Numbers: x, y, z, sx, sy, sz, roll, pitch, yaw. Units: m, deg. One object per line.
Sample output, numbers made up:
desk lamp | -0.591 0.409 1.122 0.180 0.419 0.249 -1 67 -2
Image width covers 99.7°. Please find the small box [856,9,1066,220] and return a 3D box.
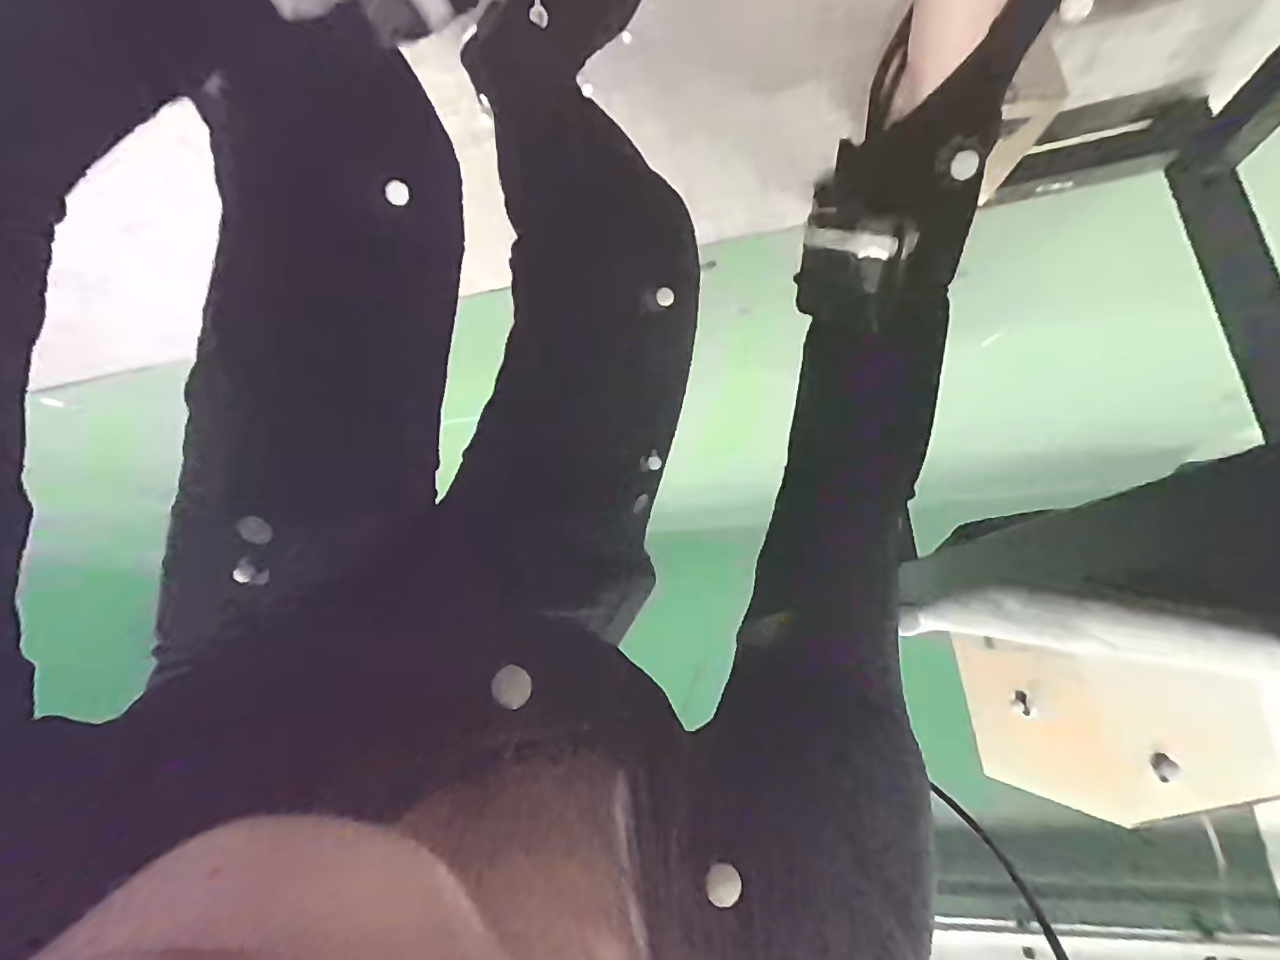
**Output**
small box | 0.405 -0.482 0.720 0.168 0.176 0.179 -3 167 0

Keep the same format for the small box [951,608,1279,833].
small box | 0.461 0.228 0.555 0.179 0.176 0.168 -4 166 -8
